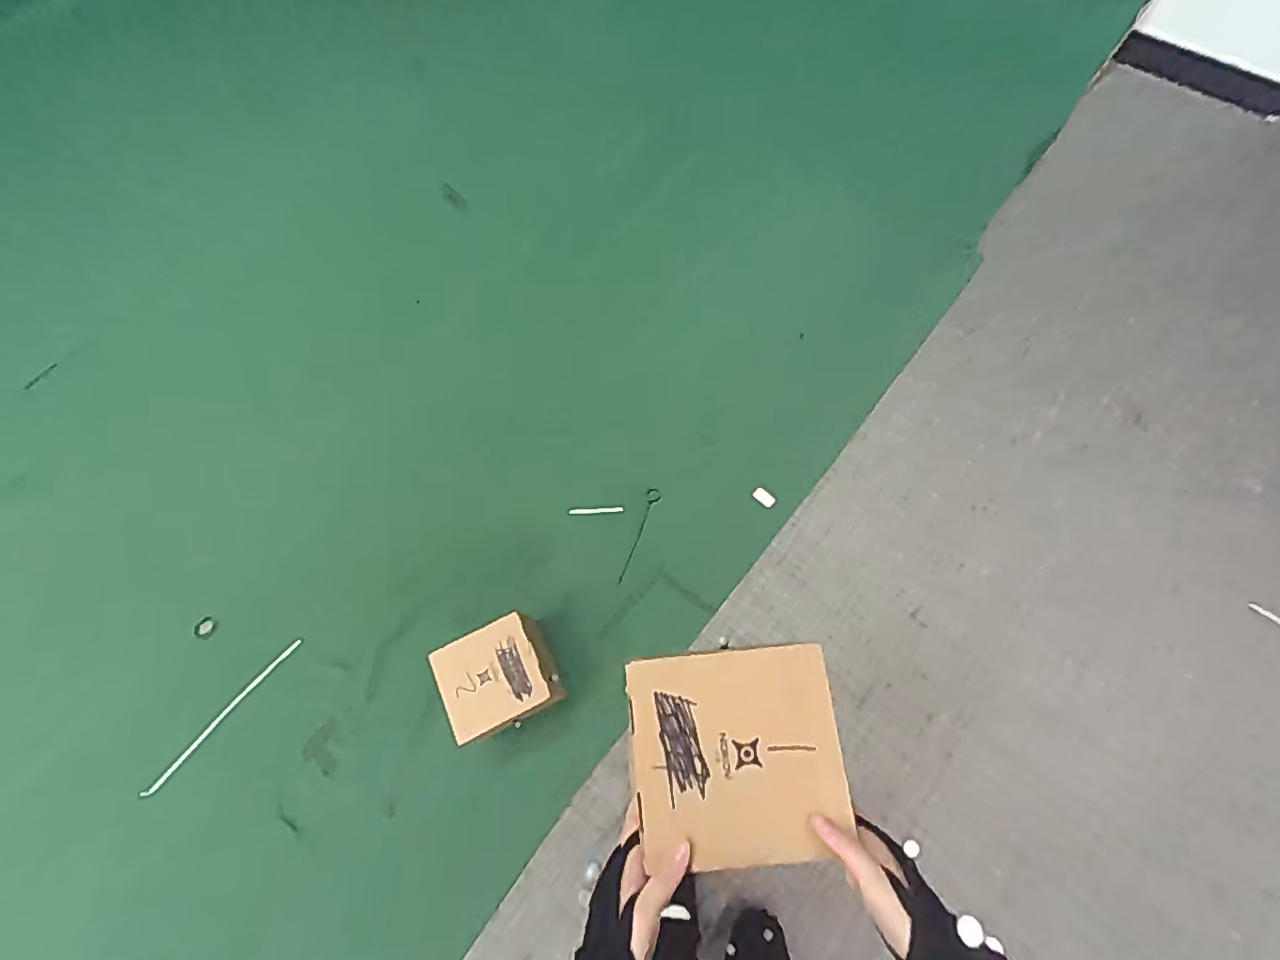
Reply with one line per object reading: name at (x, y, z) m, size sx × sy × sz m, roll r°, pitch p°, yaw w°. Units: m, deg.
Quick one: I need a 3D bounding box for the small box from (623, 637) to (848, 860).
small box at (0.083, 0.253, 0.543) m, size 0.179 × 0.176 × 0.168 m, roll -7°, pitch 73°, yaw 2°
